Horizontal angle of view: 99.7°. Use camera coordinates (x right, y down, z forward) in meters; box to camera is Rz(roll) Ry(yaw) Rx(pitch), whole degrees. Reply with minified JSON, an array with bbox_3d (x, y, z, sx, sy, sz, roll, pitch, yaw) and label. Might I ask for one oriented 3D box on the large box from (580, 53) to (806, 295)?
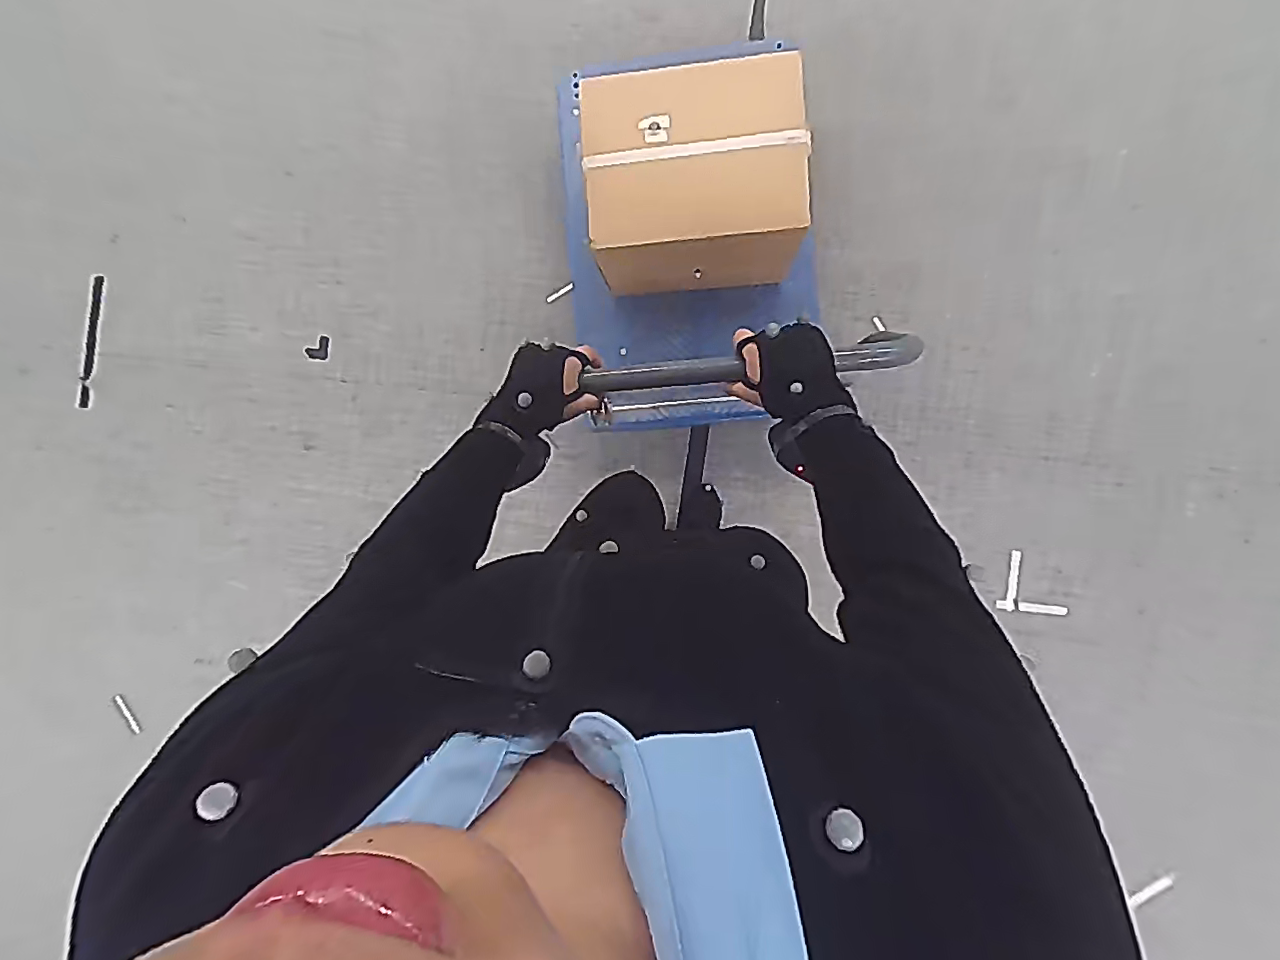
[{"bbox_3d":[0.112,-0.608,1.146,0.408,0.320,0.320,-4,91,6],"label":"large box"}]
